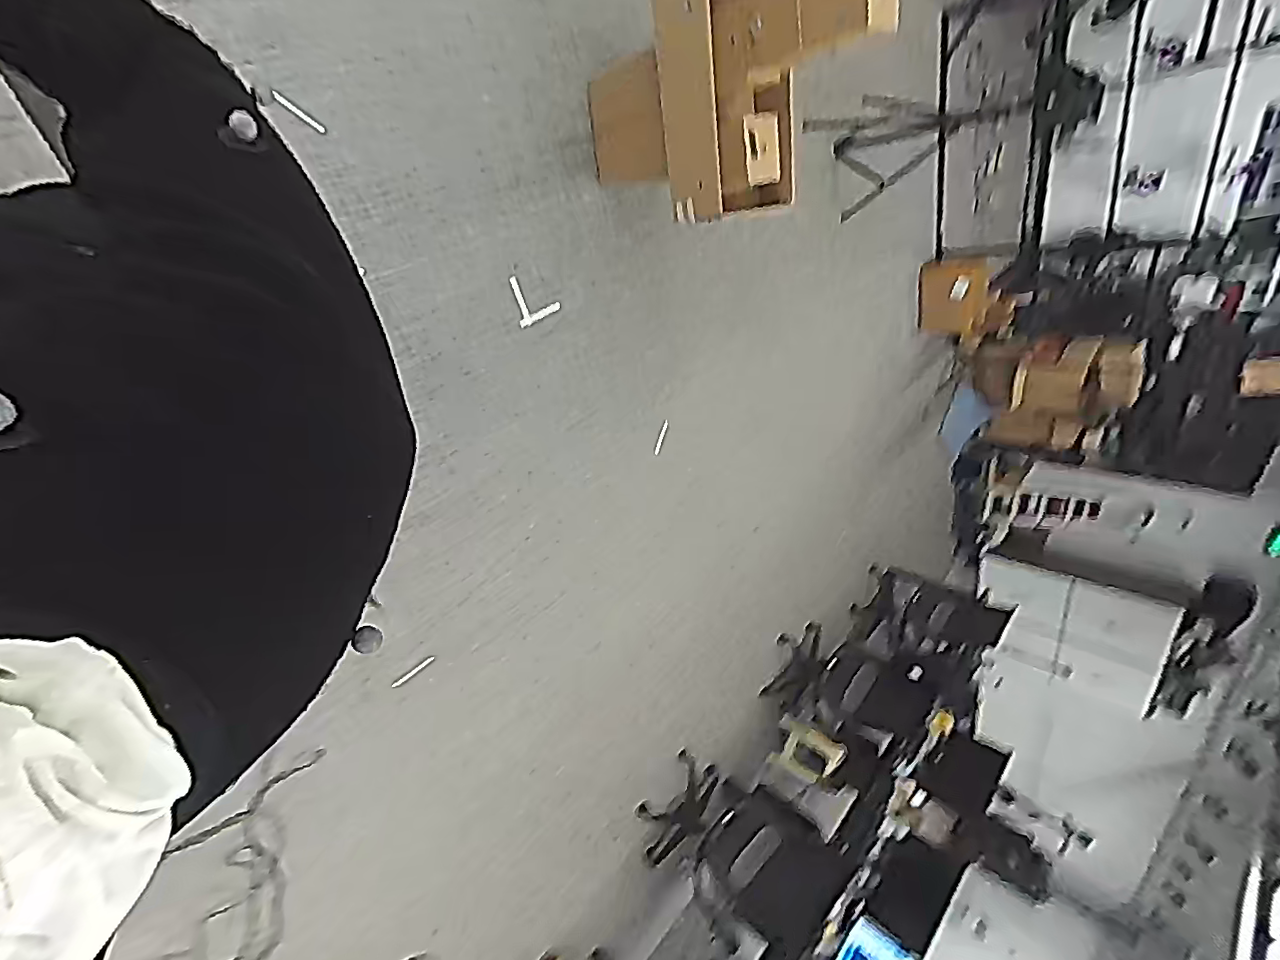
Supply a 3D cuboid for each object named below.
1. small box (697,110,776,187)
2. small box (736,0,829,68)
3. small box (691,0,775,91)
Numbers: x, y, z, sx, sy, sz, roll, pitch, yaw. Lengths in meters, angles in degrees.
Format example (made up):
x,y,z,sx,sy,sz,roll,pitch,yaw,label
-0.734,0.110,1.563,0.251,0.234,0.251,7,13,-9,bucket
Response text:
x,y,z,sx,sy,sz,roll,pitch,yaw,label
0.284,-0.991,1.622,0.179,0.176,0.168,-31,122,-36,small box
0.374,-1.204,1.412,0.179,0.176,0.168,-34,124,-34,small box
0.261,-1.228,1.528,0.168,0.176,0.179,-31,123,-34,small box
